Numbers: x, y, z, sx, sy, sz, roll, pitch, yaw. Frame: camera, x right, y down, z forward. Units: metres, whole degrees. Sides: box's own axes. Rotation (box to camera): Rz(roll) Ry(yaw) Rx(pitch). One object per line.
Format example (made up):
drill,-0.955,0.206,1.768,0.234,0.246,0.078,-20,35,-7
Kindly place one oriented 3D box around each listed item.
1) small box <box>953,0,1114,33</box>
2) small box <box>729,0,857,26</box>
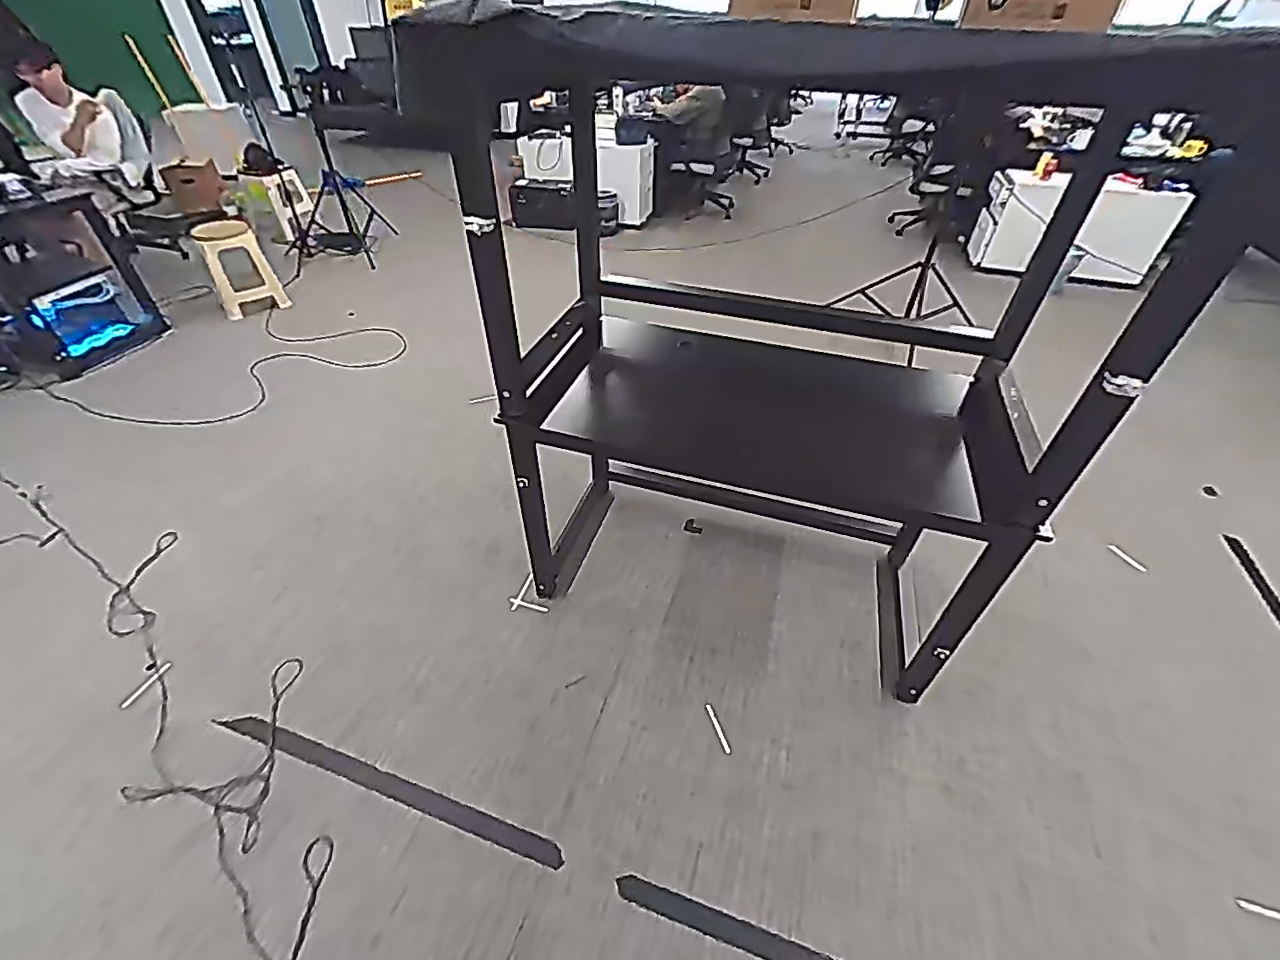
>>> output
small box,0.509,-0.667,0.671,0.168,0.176,0.179,16,42,16
small box,0.222,-0.730,0.731,0.168,0.176,0.179,13,41,14
